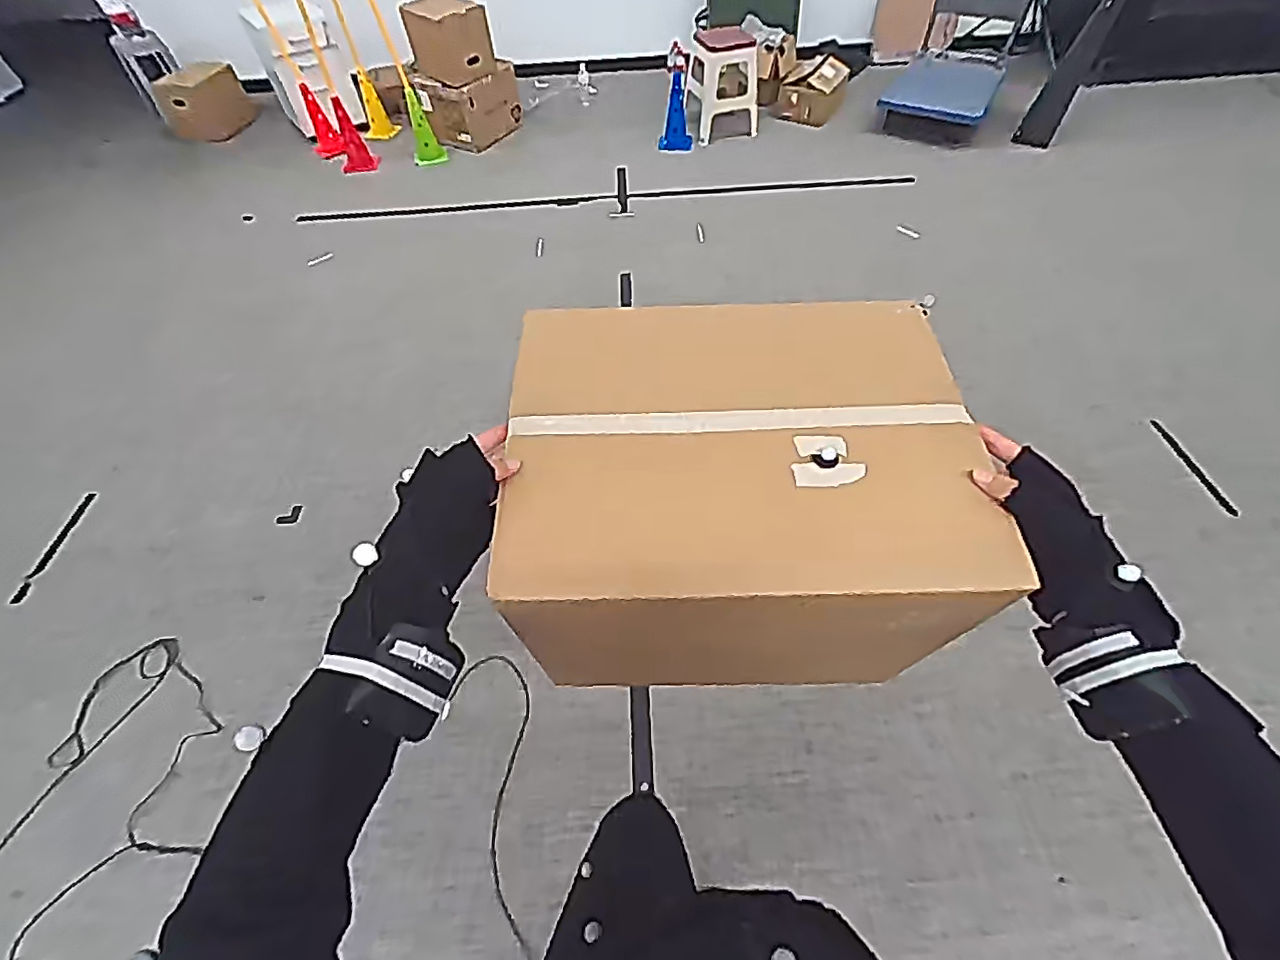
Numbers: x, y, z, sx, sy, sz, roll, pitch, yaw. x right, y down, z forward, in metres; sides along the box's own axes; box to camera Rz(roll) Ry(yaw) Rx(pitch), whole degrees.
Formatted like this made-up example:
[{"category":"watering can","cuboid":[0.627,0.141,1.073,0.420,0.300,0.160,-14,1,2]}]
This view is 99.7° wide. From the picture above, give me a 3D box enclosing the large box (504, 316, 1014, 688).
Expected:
[{"category":"large box","cuboid":[0.089,0.040,0.619,0.408,0.320,0.320,-1,58,0]}]
